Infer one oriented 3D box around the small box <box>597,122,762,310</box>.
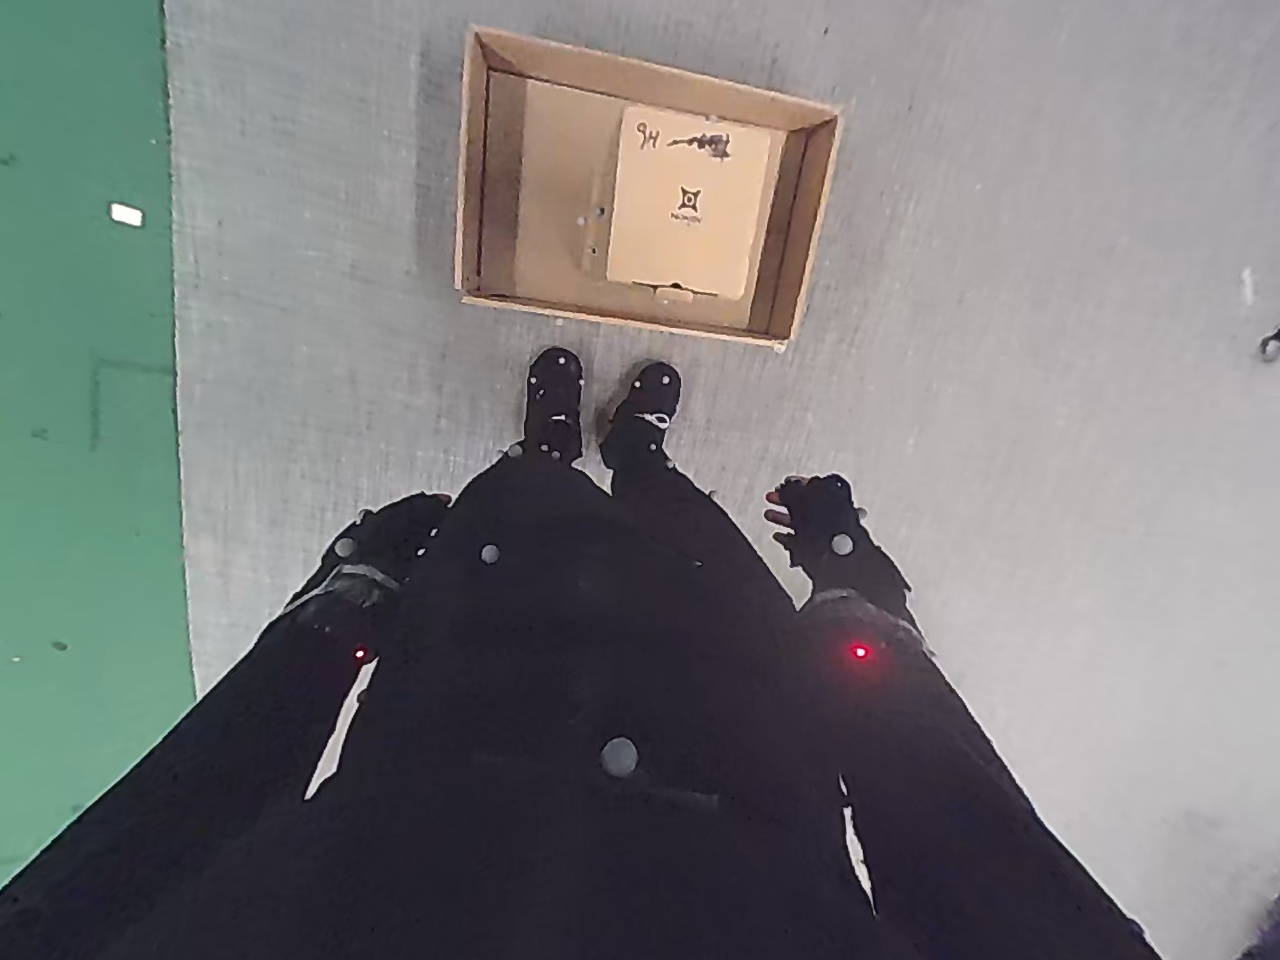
[{"bbox_3d":[0.036,-0.318,0.685,0.168,0.176,0.179,4,109,-10],"label":"small box"}]
